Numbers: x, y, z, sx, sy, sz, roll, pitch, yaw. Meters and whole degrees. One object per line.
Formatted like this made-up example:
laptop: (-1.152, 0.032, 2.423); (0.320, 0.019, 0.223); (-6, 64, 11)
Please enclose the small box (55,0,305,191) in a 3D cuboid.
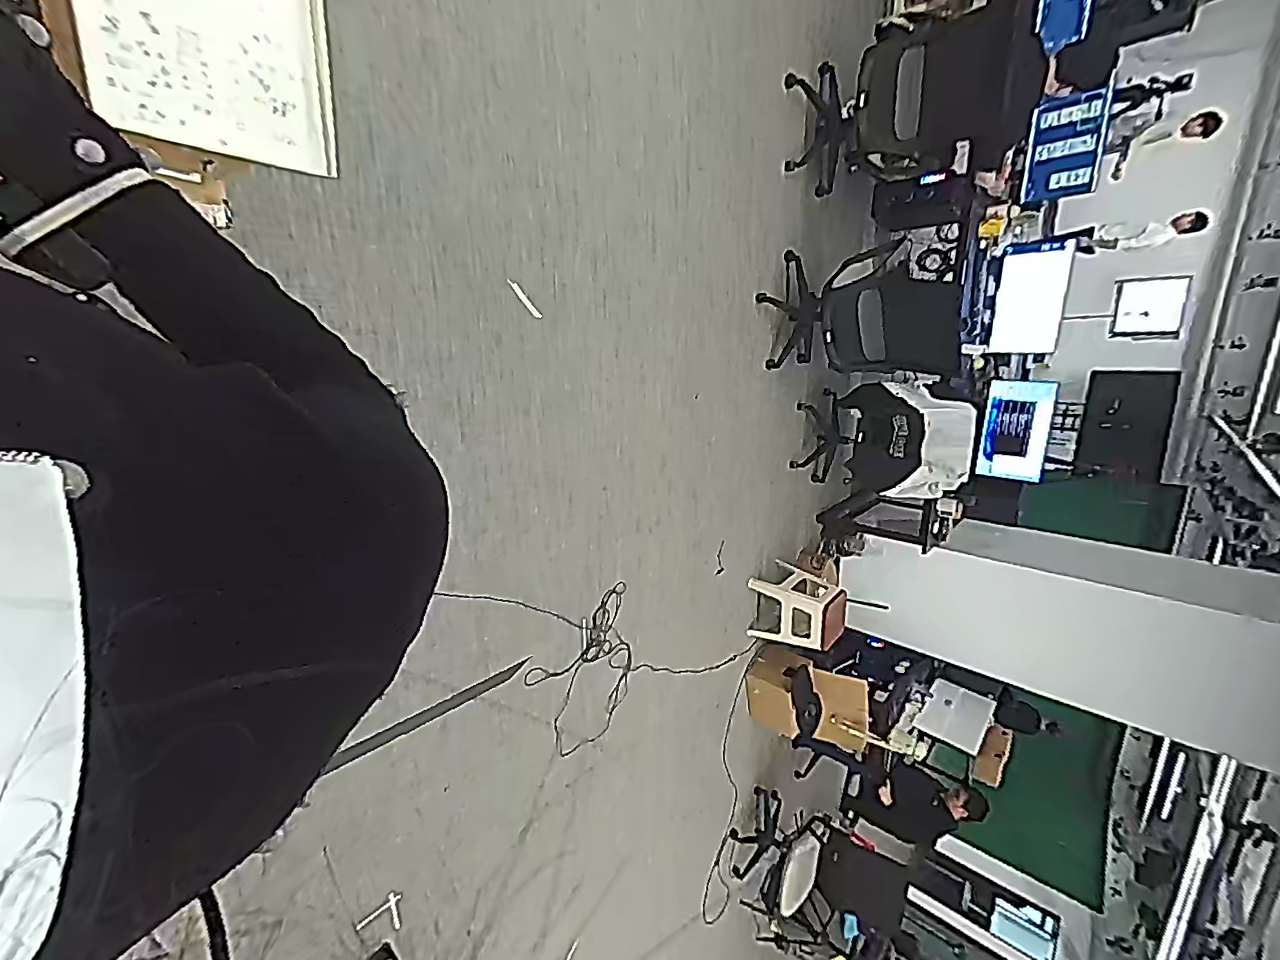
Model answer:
small box: (-0.491, -0.434, 0.582); (0.168, 0.176, 0.179); (-14, 112, -49)
